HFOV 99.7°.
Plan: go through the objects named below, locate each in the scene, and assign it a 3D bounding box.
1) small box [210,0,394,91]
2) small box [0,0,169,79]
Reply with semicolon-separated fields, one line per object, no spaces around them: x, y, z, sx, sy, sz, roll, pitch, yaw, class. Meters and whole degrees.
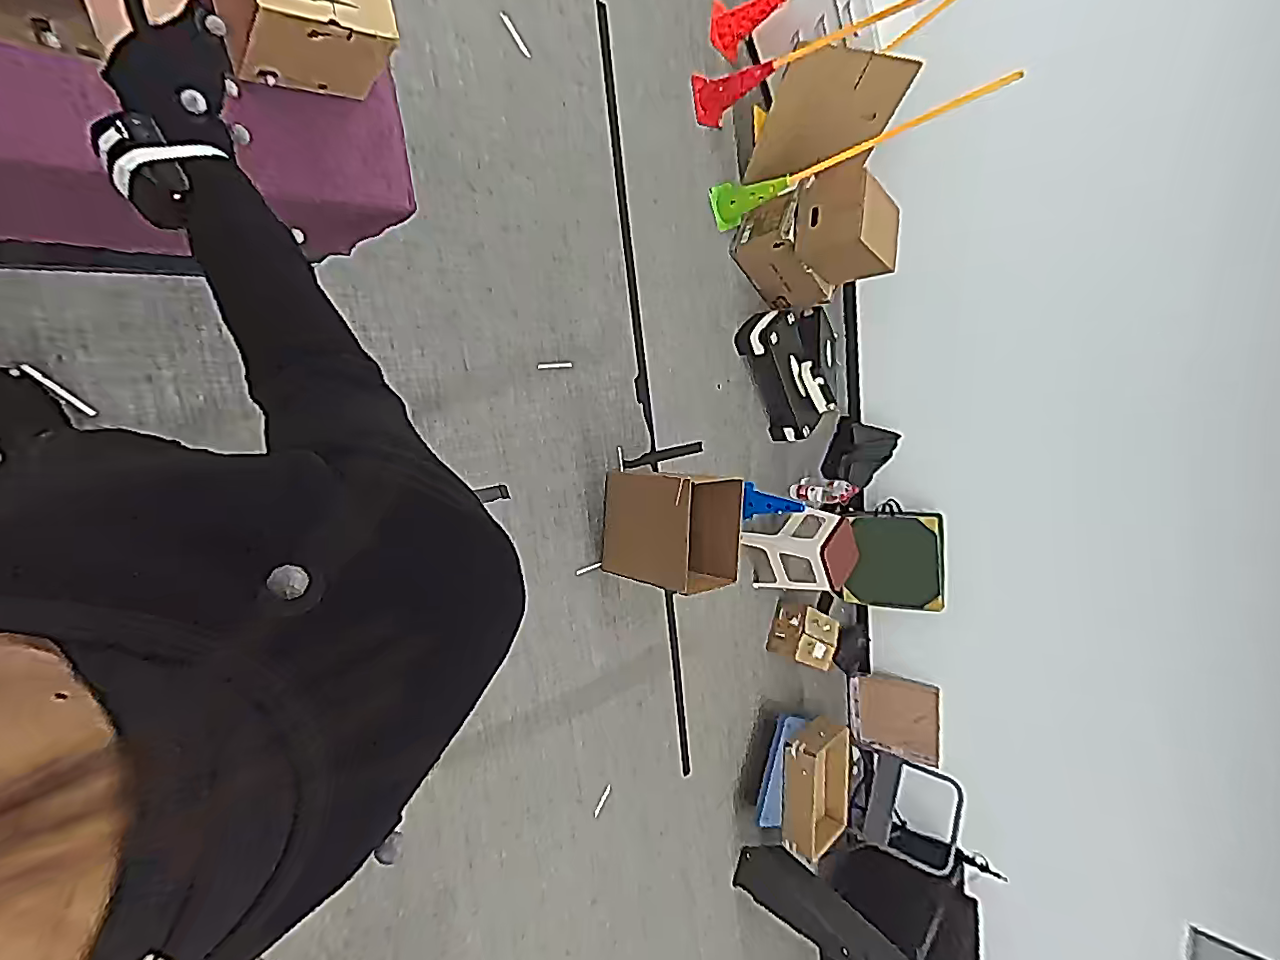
-0.449;-0.646;0.700;0.168;0.176;0.179;-22;107;-41;small box
-0.495;-0.468;0.426;0.168;0.176;0.179;-11;105;-38;small box
